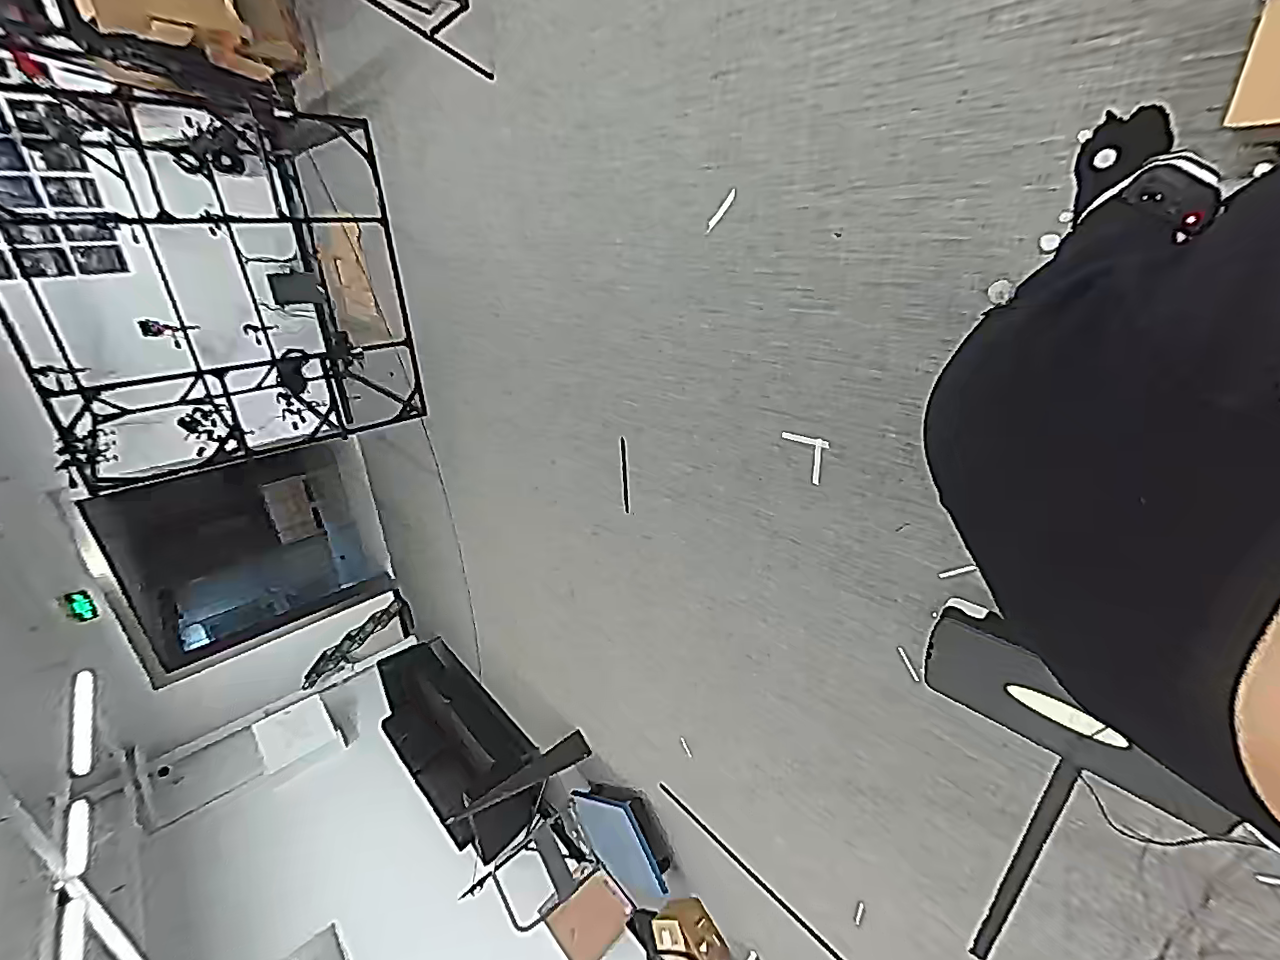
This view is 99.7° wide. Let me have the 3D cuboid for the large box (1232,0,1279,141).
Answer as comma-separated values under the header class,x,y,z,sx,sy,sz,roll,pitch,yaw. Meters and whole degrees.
class,x,y,z,sx,sy,sz,roll,pitch,yaw
large box,1.054,-0.625,0.647,0.408,0.320,0.320,23,125,42
